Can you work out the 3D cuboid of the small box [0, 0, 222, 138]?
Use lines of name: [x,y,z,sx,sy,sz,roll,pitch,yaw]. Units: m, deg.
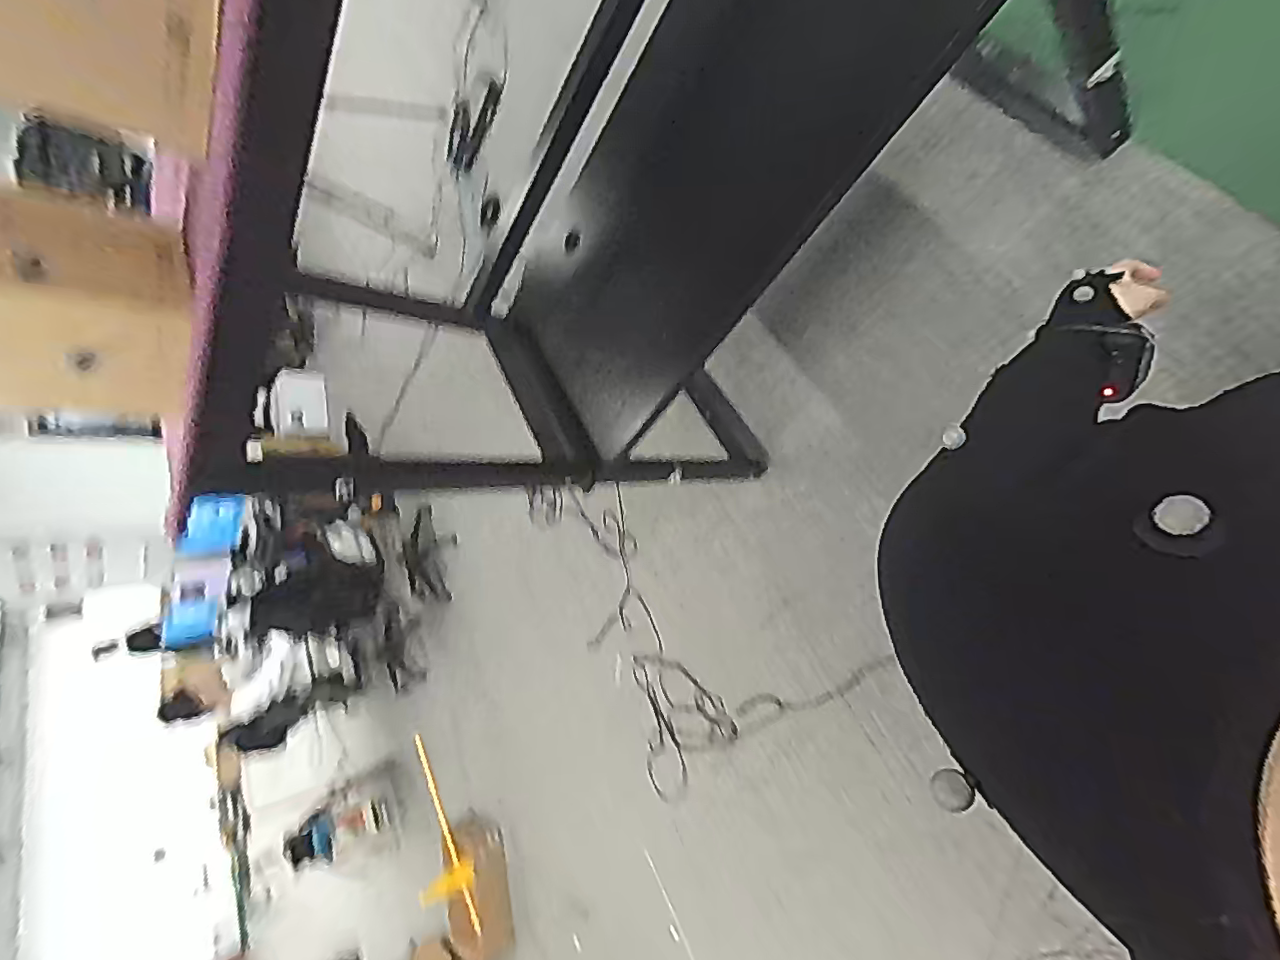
small box: [-0.459,-0.422,0.441,0.168,0.176,0.179,-46,60,34]
